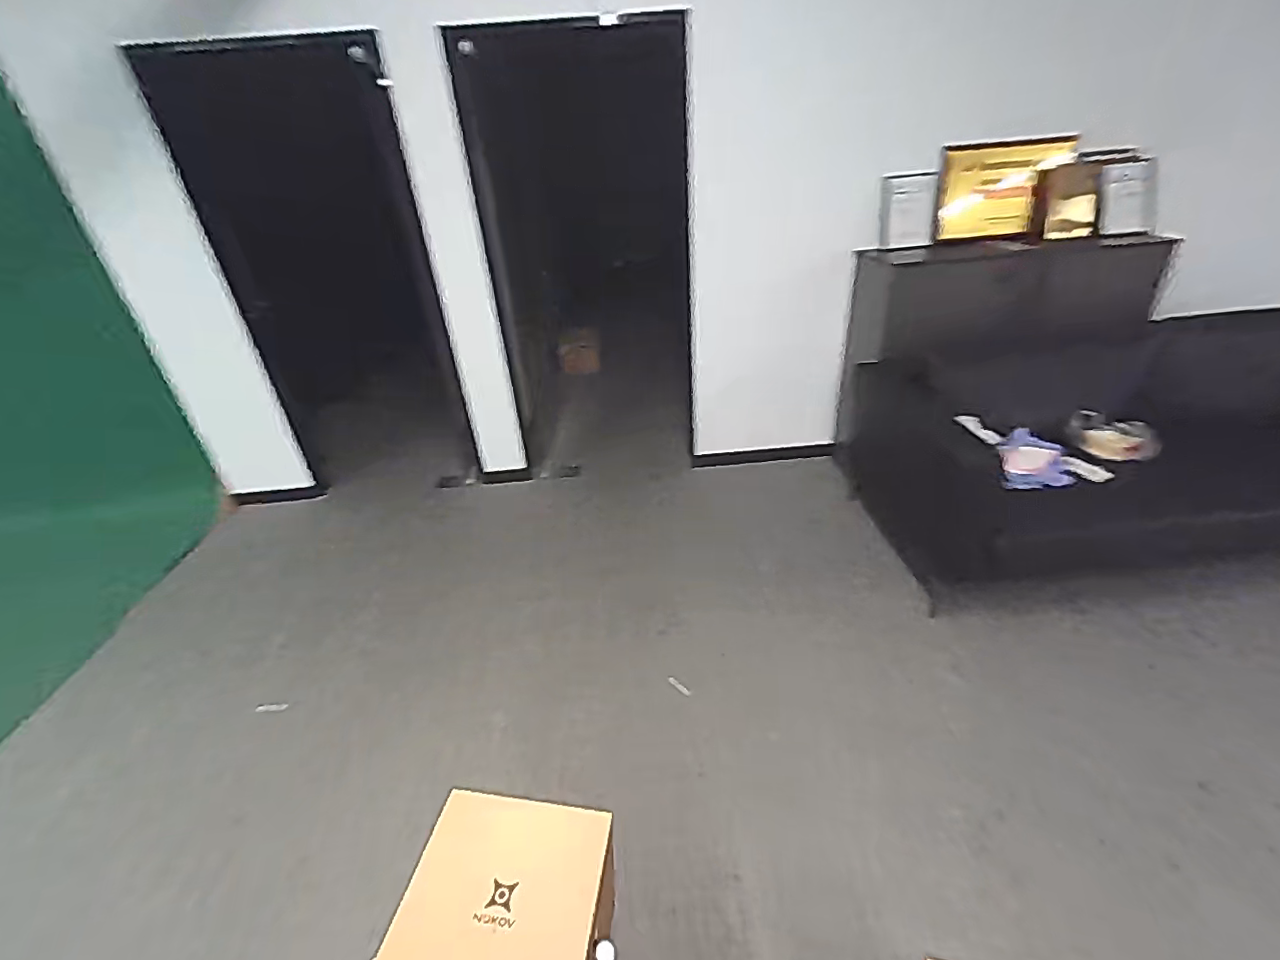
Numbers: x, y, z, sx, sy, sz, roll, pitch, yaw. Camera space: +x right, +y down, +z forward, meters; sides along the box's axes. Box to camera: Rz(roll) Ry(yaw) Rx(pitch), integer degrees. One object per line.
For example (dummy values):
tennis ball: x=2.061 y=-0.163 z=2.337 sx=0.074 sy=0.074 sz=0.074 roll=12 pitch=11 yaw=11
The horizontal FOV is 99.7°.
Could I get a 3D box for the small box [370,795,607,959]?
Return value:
small box: x=-0.127 y=0.430 z=0.491 sx=0.168 sy=0.176 sz=0.179 roll=5 pitch=30 yaw=5
